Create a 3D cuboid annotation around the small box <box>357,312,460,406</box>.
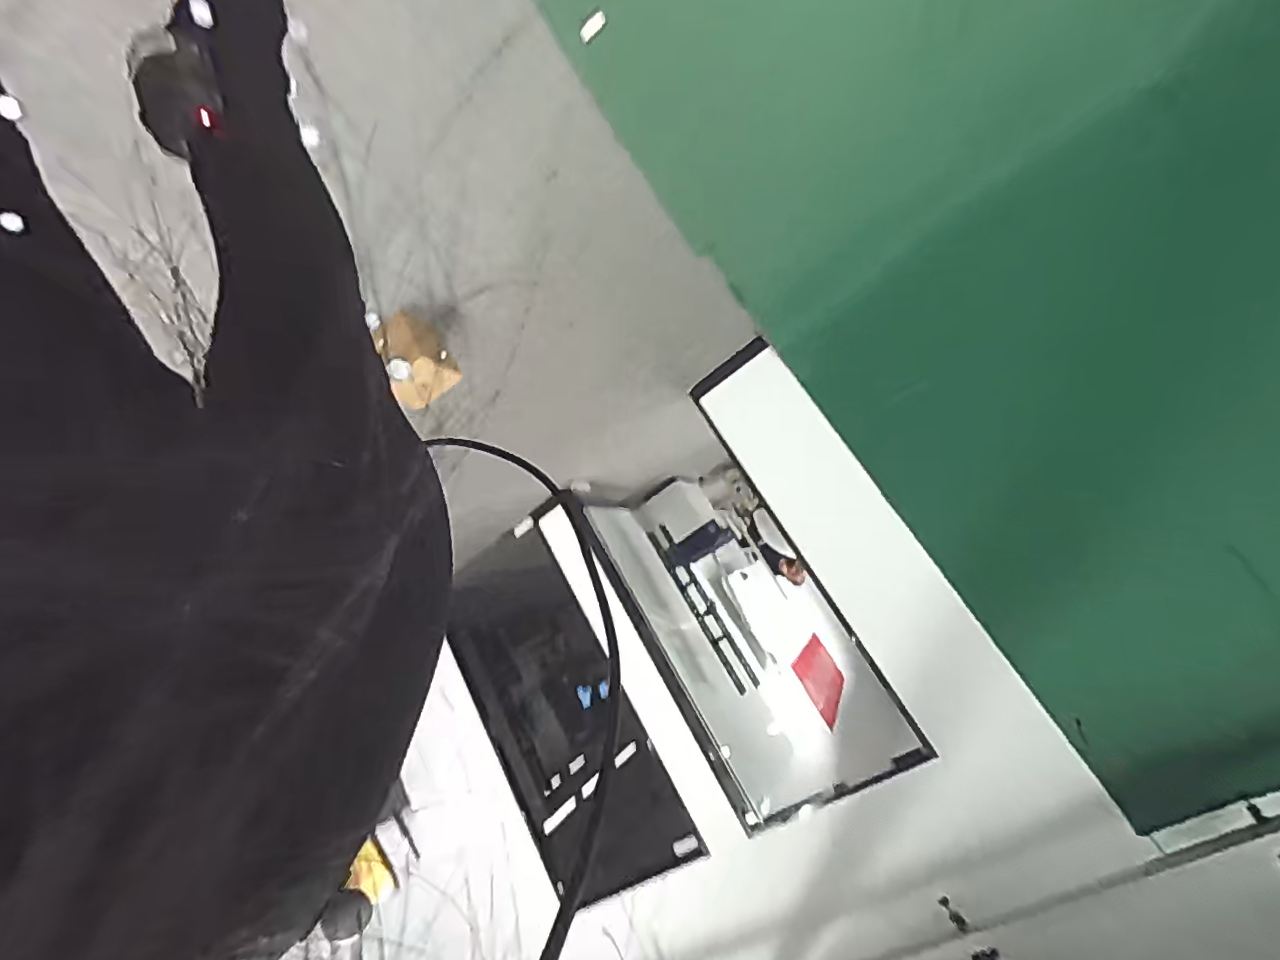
[{"bbox_3d":[-0.647,-0.338,1.514,0.168,0.176,0.179,-35,163,11],"label":"small box"}]
